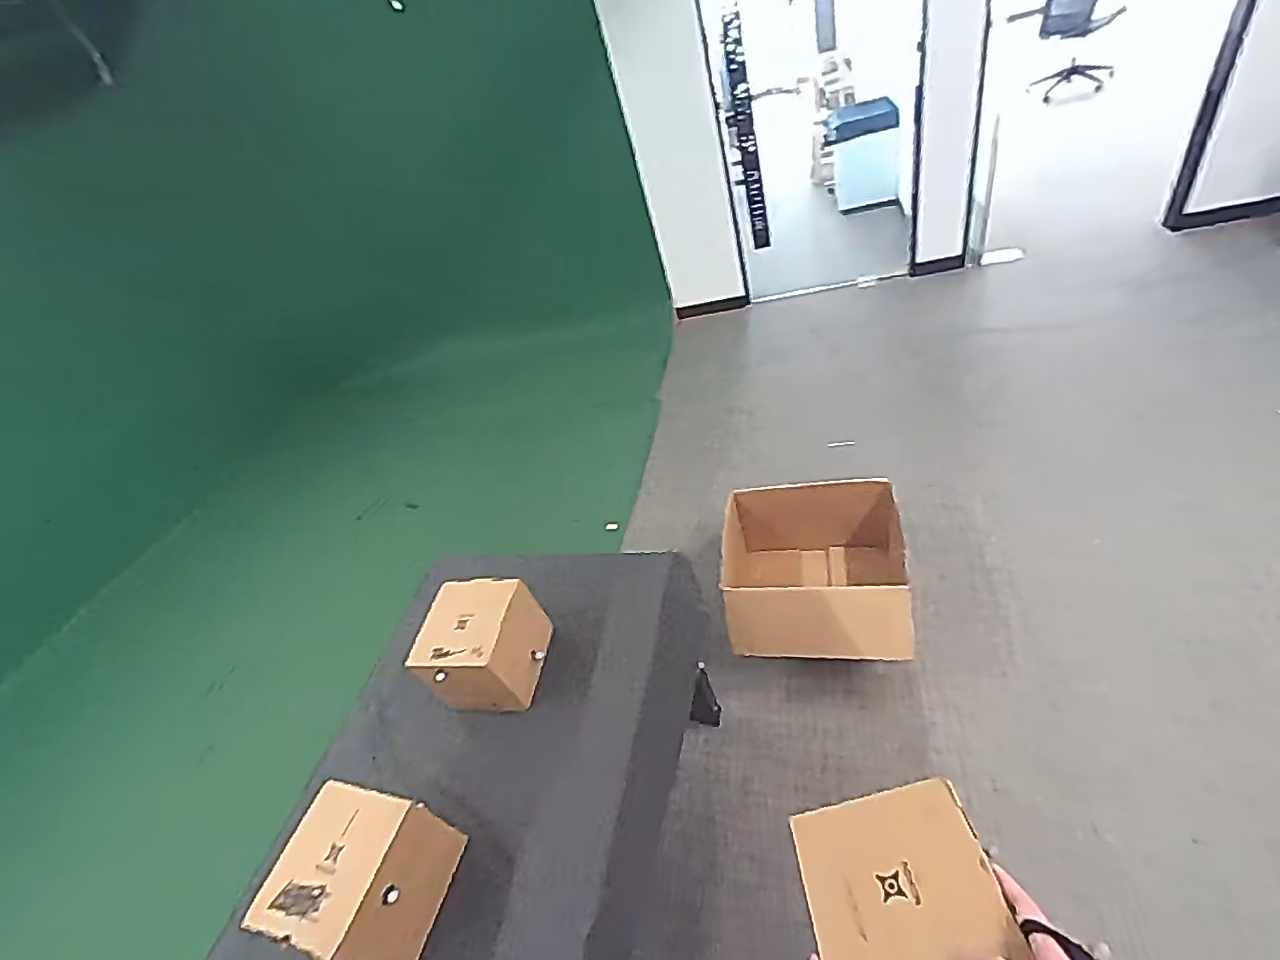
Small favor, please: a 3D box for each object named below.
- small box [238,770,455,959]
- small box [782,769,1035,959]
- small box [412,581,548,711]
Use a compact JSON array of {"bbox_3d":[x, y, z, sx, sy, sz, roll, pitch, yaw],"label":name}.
[{"bbox_3d":[-0.396,0.551,0.765,0.168,0.176,0.179,3,45,23],"label":"small box"},{"bbox_3d":[0.266,0.428,0.537,0.179,0.176,0.168,-25,27,15],"label":"small box"},{"bbox_3d":[-0.287,0.313,1.021,0.168,0.176,0.179,-6,42,14],"label":"small box"}]
